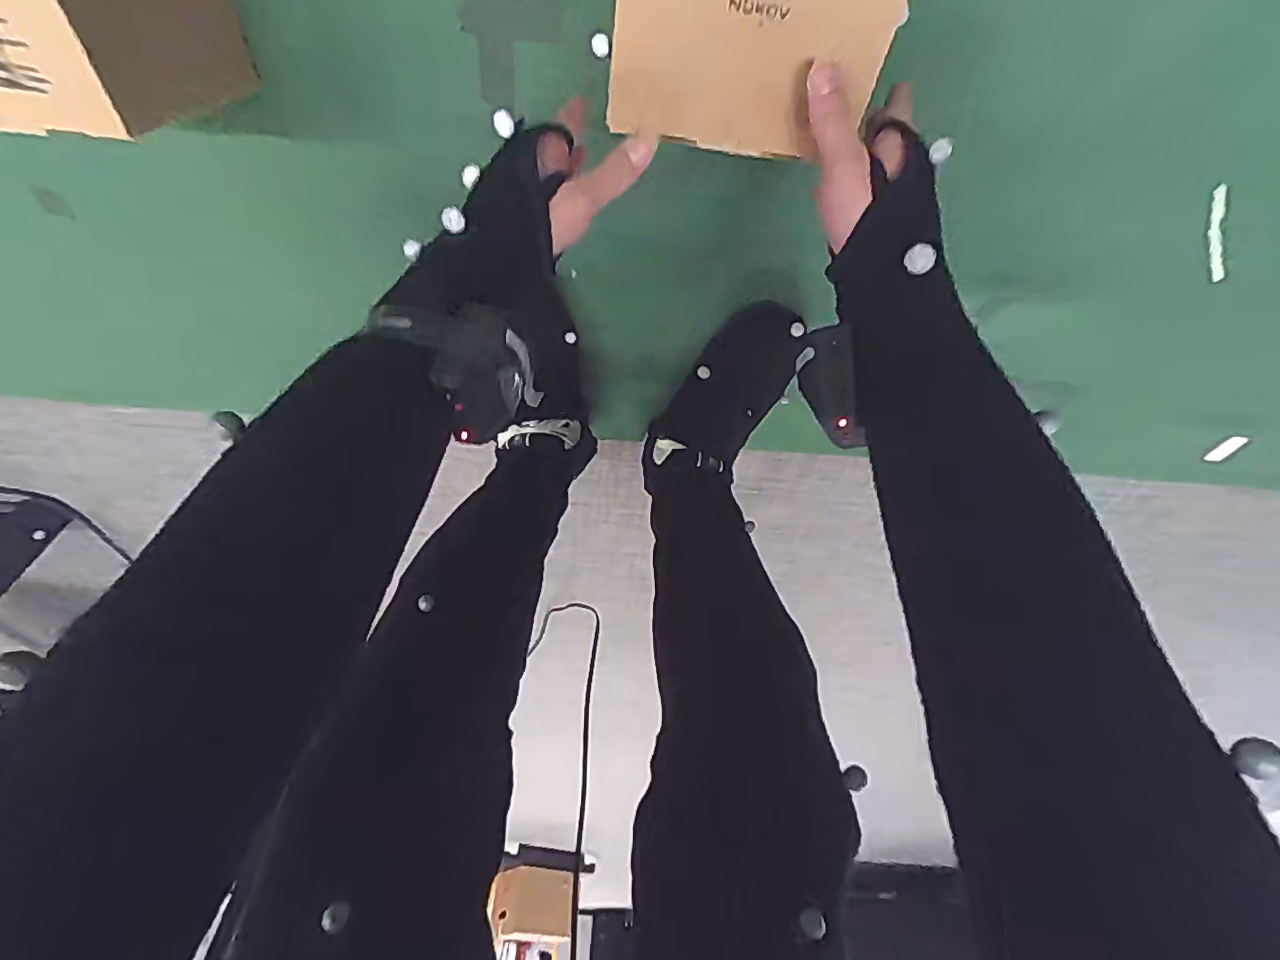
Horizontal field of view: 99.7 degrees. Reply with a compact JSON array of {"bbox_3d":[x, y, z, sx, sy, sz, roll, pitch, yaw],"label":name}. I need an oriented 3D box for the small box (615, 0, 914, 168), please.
[{"bbox_3d":[0.076,-0.338,0.354,0.168,0.176,0.179,6,138,-4],"label":"small box"}]
